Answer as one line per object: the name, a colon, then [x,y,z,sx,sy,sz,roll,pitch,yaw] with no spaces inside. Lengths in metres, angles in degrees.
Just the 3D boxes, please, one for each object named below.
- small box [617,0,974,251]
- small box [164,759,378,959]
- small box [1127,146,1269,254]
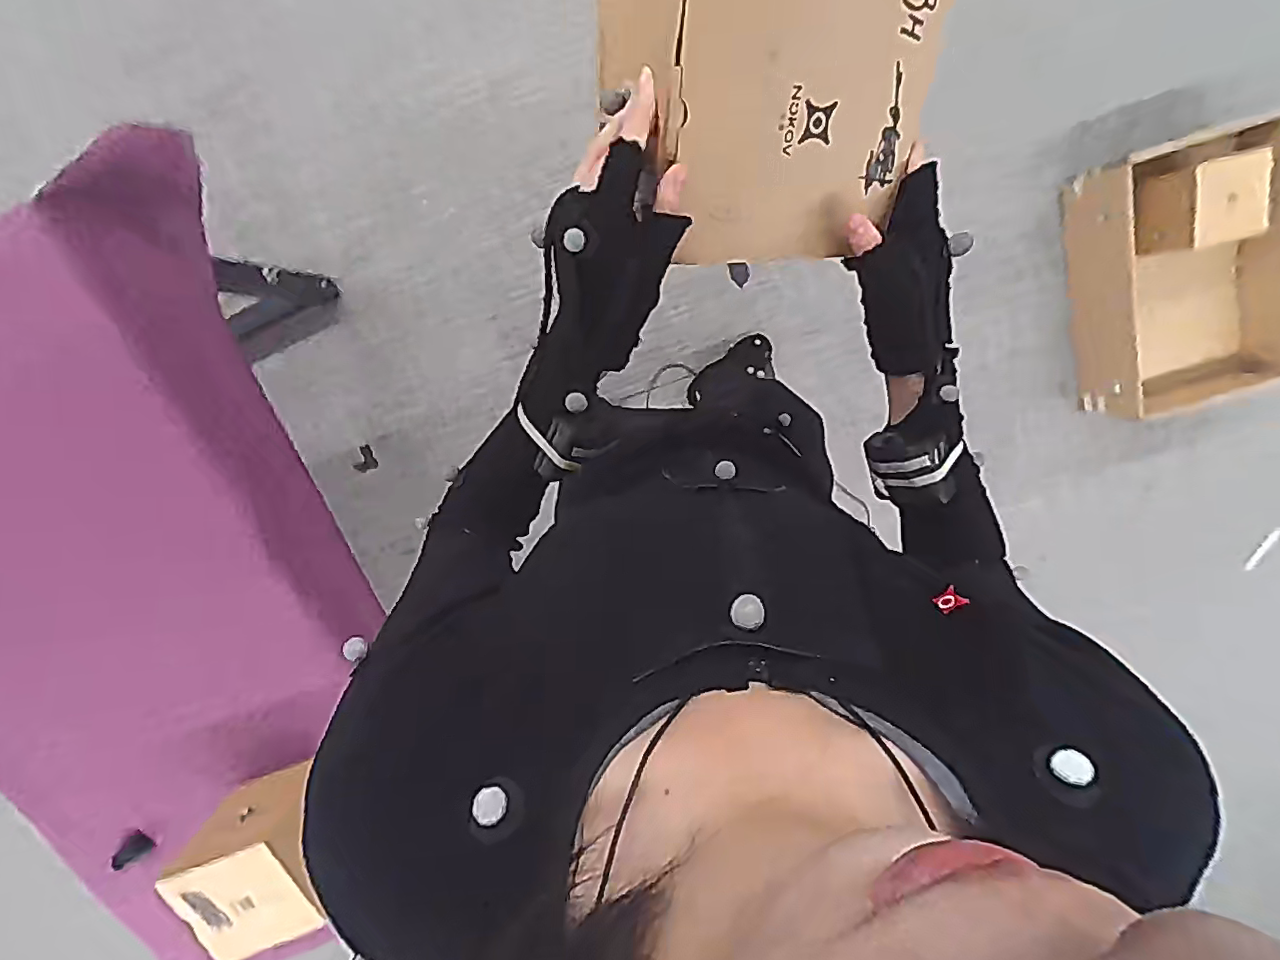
small box: [0.087,-0.270,0.389,0.179,0.176,0.168,-8,127,-17]
small box: [-0.547,0.574,0.831,0.179,0.176,0.168,-23,104,4]
small box: [1.294,-0.642,1.267,0.168,0.176,0.179,-15,105,2]
